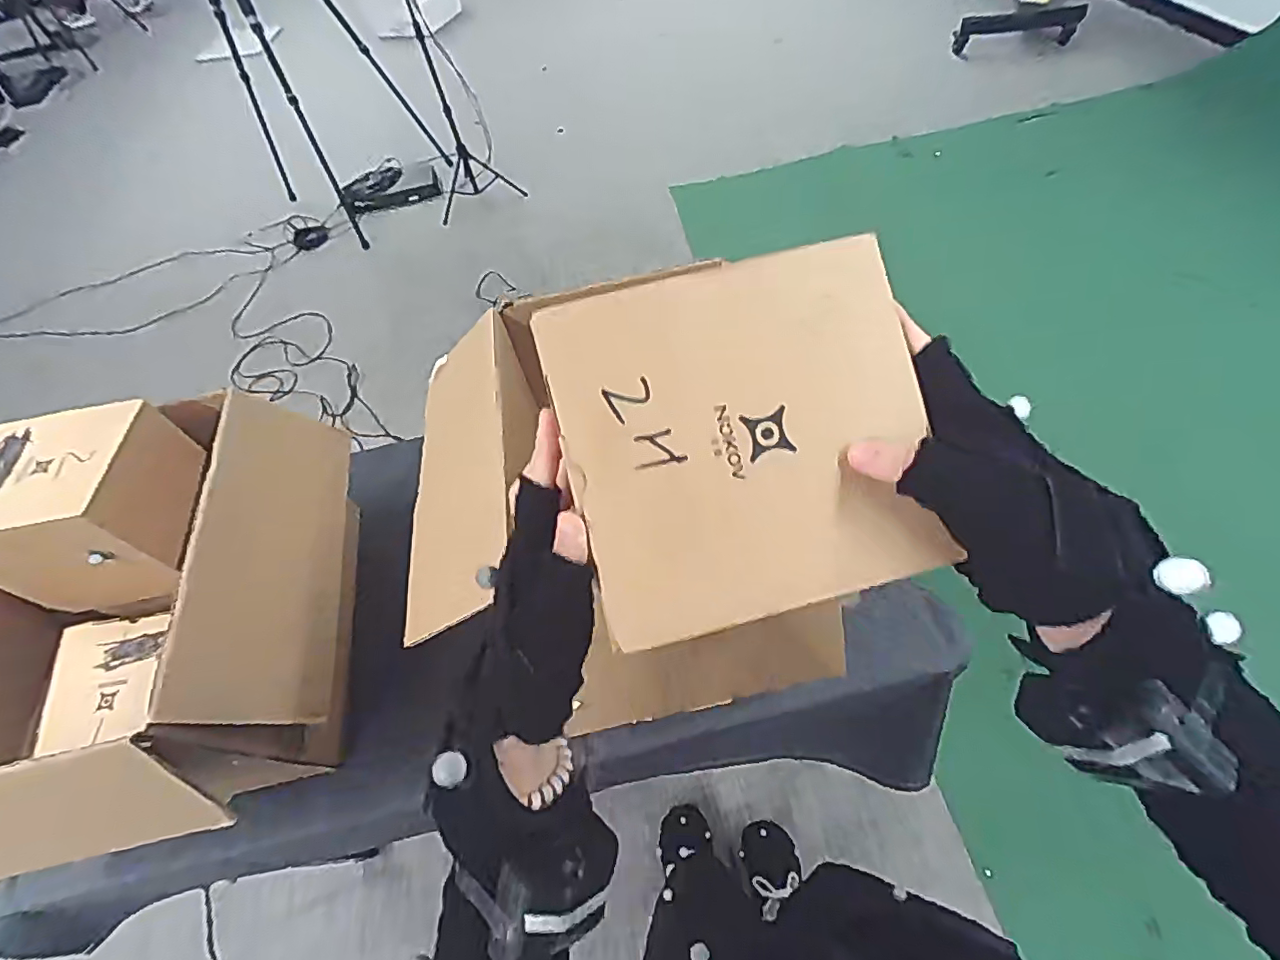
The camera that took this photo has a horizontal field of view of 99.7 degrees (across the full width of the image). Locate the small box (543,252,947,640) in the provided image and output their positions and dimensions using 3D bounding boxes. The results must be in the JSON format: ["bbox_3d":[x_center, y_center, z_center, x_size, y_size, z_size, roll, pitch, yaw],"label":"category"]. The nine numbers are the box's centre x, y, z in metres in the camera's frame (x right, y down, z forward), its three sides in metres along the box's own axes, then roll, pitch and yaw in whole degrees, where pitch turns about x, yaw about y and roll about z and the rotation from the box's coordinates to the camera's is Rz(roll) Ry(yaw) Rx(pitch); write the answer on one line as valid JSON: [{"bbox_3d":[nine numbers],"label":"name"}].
[{"bbox_3d":[0.047,-0.015,0.344,0.179,0.176,0.168,-13,86,-4],"label":"small box"}]
